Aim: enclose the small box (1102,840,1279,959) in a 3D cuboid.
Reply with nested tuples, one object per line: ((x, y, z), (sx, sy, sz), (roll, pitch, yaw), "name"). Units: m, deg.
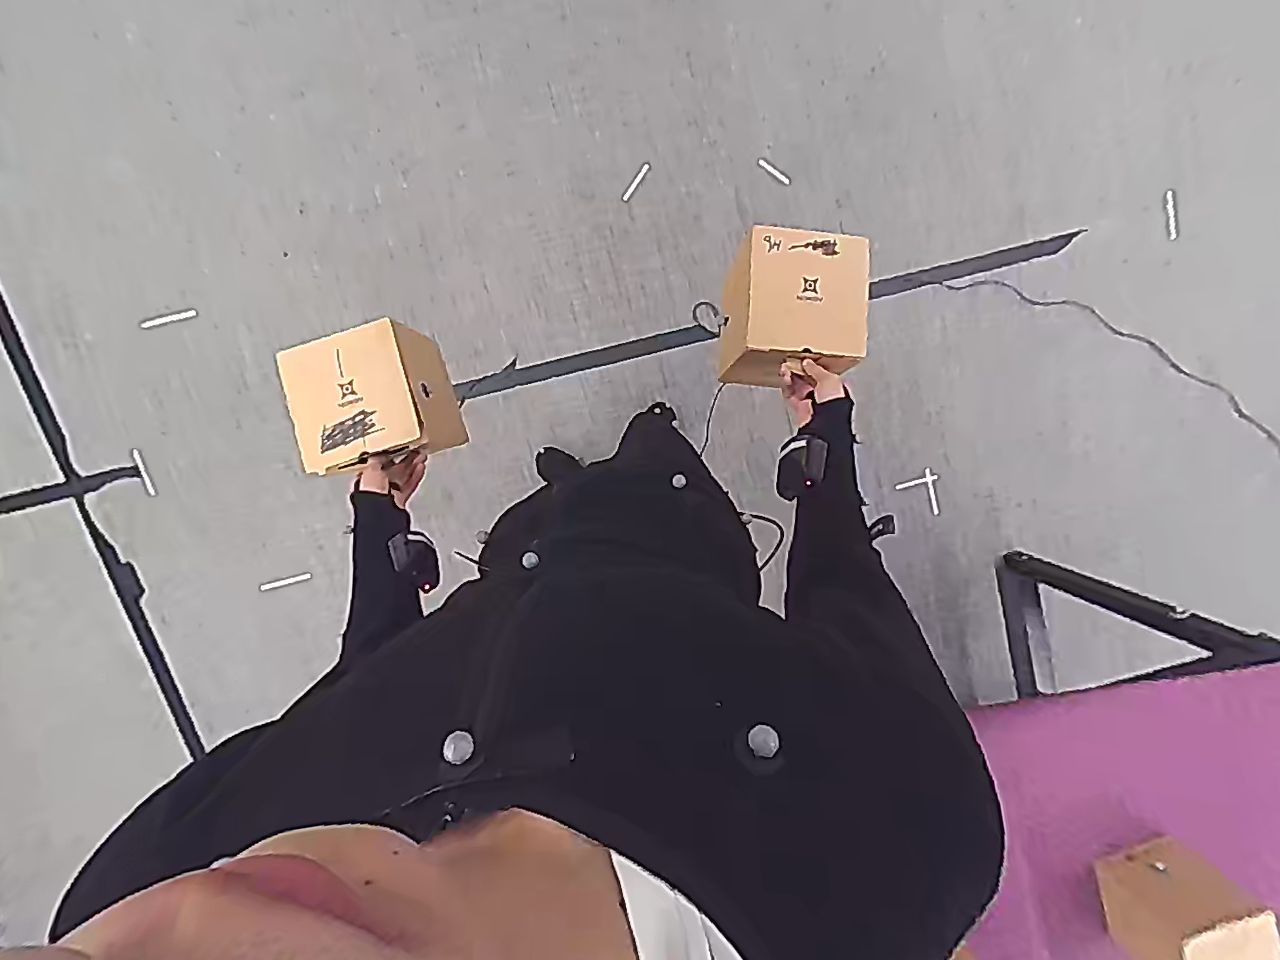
((0.992, 0.804, 0.975), (0.168, 0.176, 0.179), (-18, 97, -1), "small box")

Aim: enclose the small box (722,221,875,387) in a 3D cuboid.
((0.222, -0.245, 0.797), (0.168, 0.176, 0.179), (6, 84, -4), "small box")

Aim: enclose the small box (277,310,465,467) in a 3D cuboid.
((-0.381, -0.127, 0.800), (0.168, 0.176, 0.179), (-16, 92, 2), "small box")
